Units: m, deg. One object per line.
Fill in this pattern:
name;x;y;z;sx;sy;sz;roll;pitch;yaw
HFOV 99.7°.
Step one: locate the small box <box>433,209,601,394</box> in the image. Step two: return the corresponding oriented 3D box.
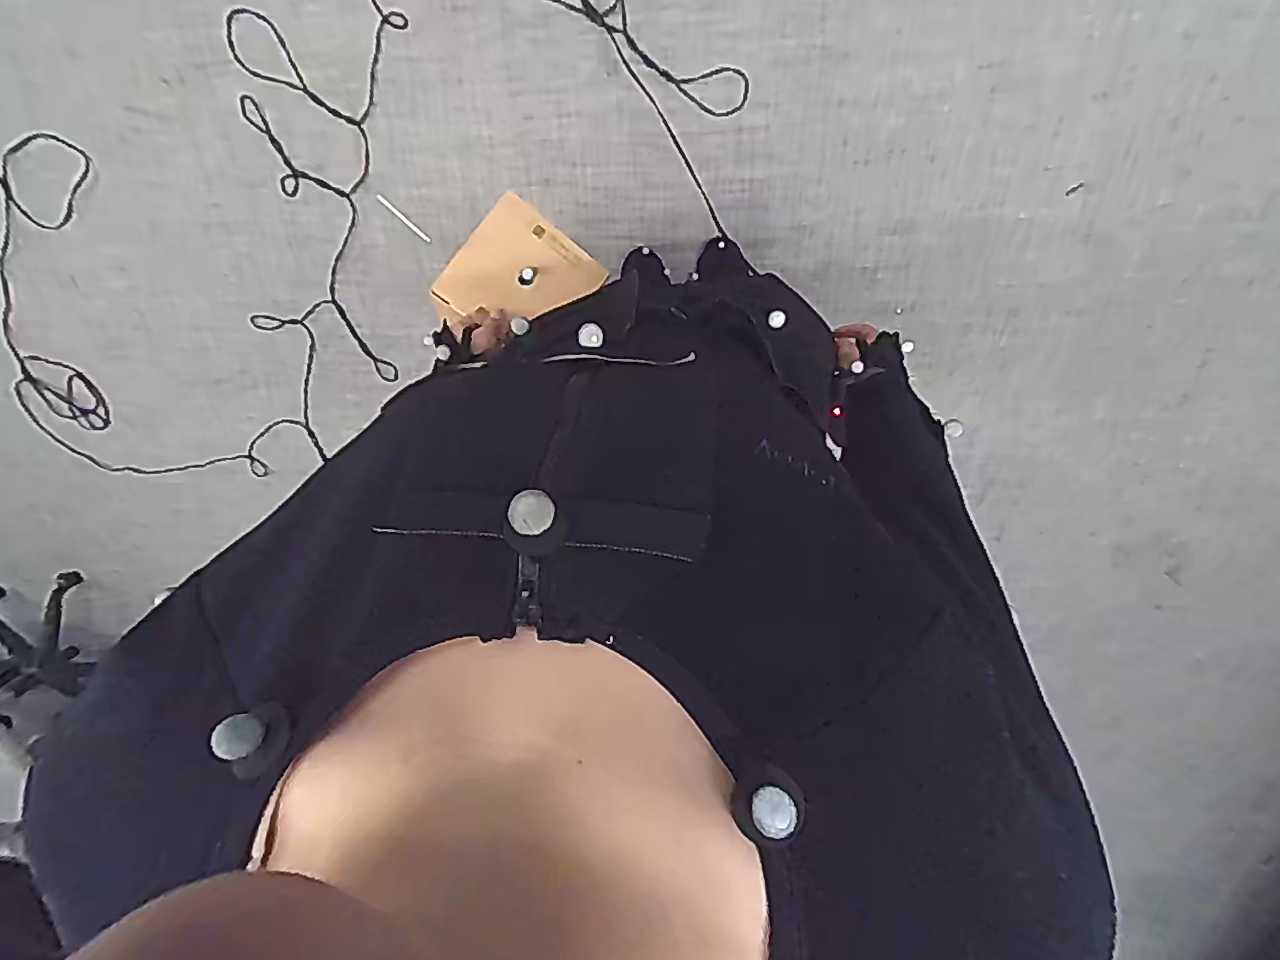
small box;-0.176;-0.250;0.784;0.168;0.179;0.176;36;81;-15
